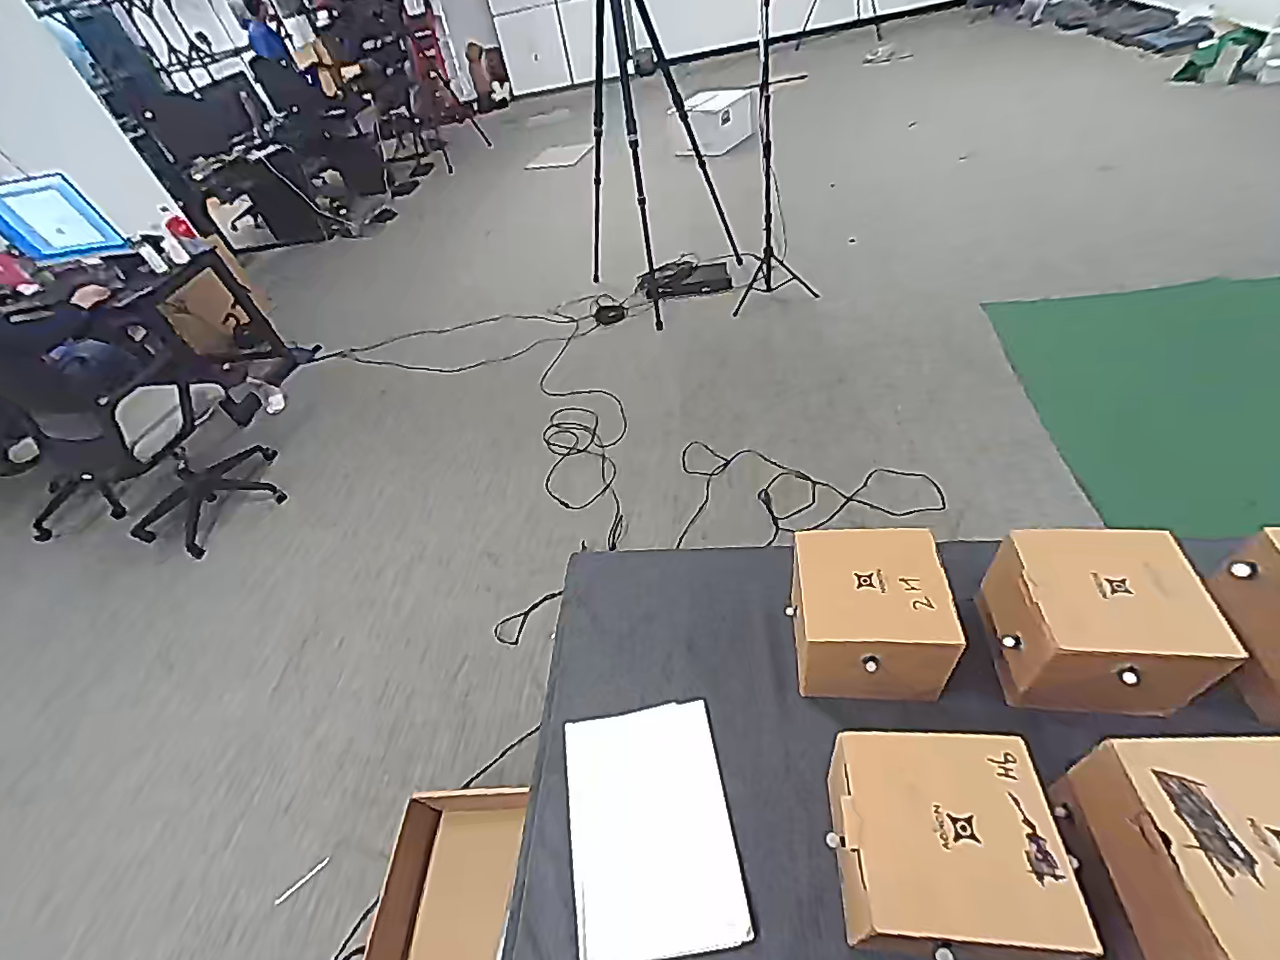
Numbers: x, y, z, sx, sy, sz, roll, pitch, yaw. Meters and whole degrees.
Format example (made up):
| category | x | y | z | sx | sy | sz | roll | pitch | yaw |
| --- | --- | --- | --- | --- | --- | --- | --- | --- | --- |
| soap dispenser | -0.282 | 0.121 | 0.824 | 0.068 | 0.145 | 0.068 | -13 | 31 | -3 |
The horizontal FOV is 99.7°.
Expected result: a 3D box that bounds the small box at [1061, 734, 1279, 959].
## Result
| category | x | y | z | sx | sy | sz | roll | pitch | yaw |
| --- | --- | --- | --- | --- | --- | --- | --- | --- | --- |
| small box | 0.537 | 0.352 | 0.502 | 0.179 | 0.176 | 0.168 | -4 | 45 | 8 |
